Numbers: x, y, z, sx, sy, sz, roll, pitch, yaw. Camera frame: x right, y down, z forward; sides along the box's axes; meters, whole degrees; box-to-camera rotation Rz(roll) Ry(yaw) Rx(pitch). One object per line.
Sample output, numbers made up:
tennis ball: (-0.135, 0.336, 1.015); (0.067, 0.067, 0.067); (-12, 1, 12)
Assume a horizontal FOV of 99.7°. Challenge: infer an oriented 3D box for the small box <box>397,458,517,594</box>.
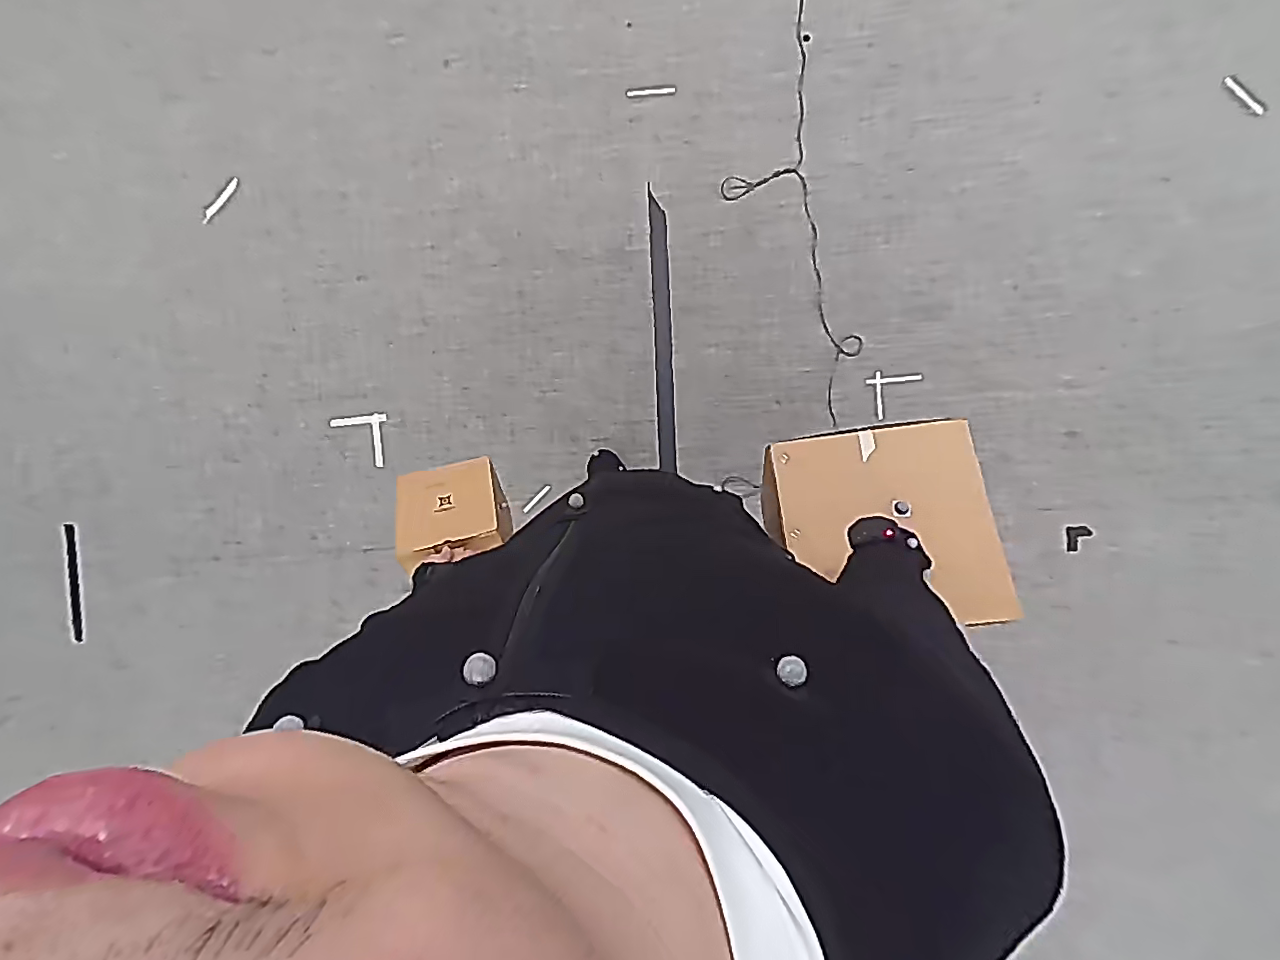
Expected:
small box: (-0.330, 0.091, 0.994); (0.168, 0.176, 0.179); (-13, 51, -8)
